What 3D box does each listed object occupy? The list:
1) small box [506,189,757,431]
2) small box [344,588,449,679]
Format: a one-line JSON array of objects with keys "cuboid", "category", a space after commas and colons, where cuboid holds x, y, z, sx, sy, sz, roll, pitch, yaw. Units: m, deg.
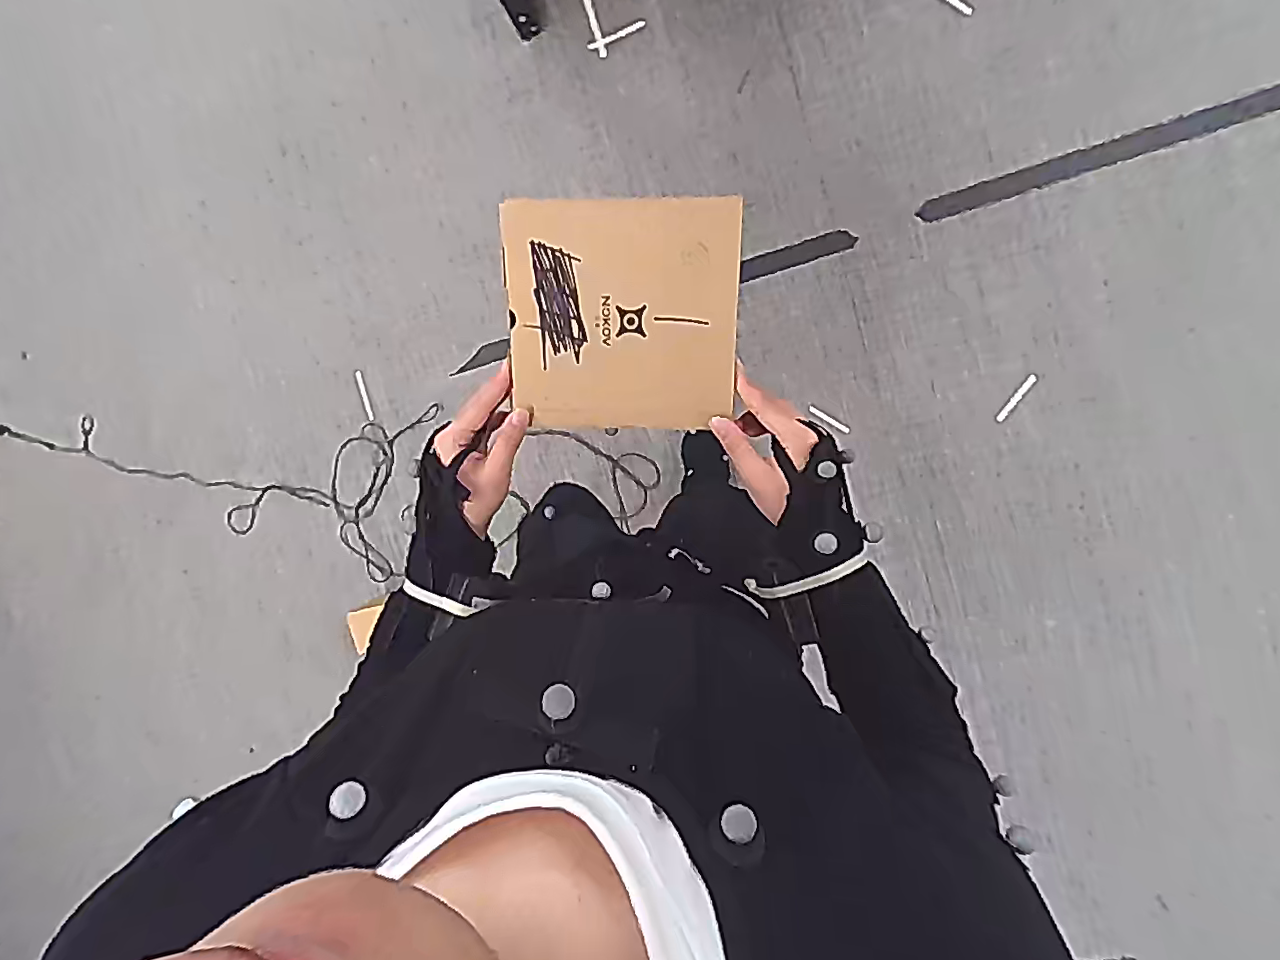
[{"cuboid": [-0.004, -0.140, 0.467, 0.179, 0.176, 0.168, 2, 106, 3], "category": "small box"}, {"cuboid": [-0.638, 0.398, 1.435, 0.168, 0.176, 0.179, -14, 95, 12], "category": "small box"}]
